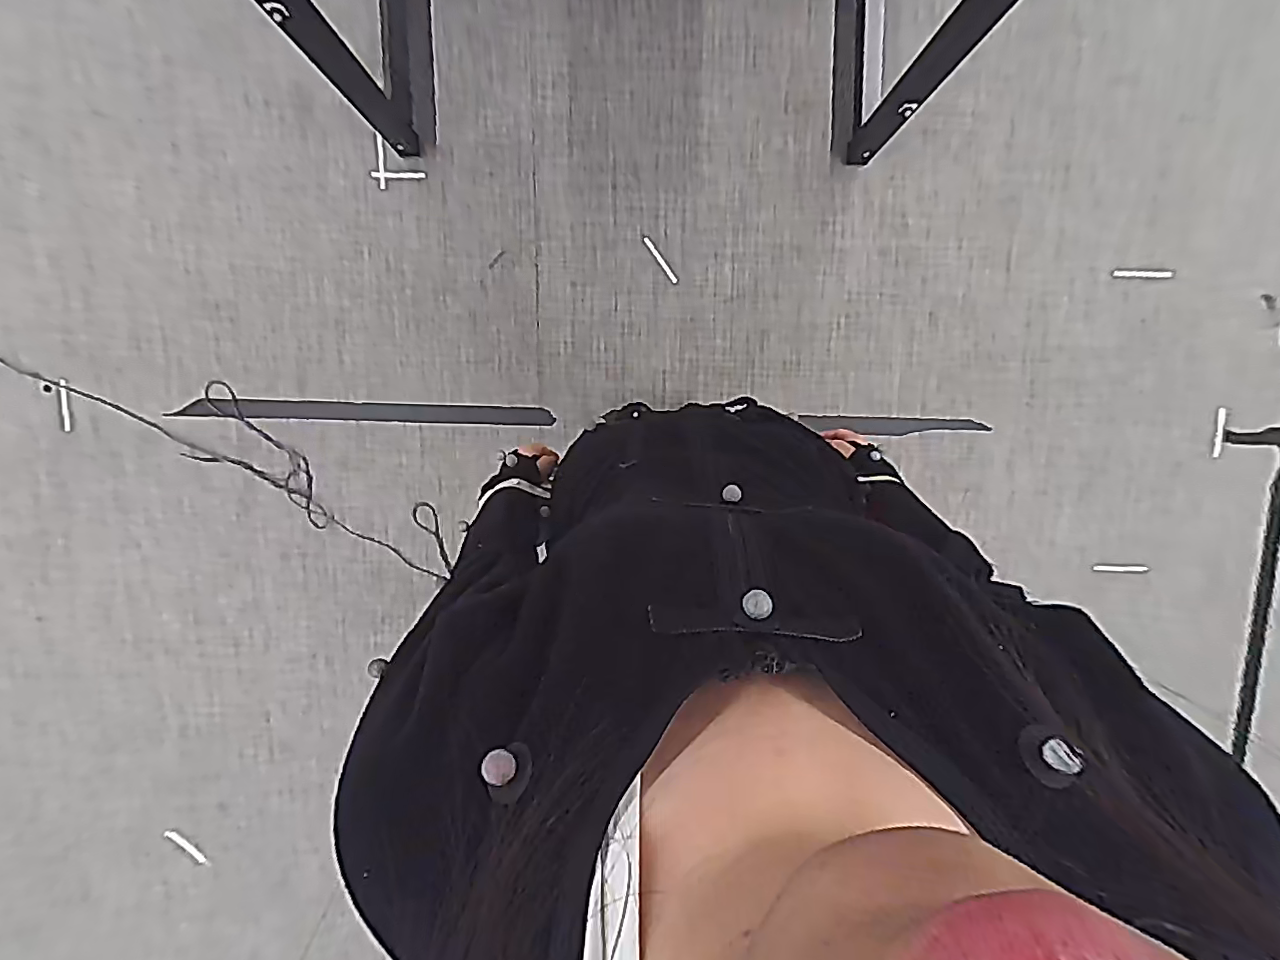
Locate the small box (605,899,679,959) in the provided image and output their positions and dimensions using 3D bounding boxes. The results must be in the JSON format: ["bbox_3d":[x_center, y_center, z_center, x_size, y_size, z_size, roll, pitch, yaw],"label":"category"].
[{"bbox_3d":[0.010,1.232,1.383,0.168,0.176,0.179,-13,98,-1],"label":"small box"}]

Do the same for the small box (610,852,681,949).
[{"bbox_3d":[0.013,1.204,1.546,0.168,0.176,0.179,-13,97,1],"label":"small box"}]
